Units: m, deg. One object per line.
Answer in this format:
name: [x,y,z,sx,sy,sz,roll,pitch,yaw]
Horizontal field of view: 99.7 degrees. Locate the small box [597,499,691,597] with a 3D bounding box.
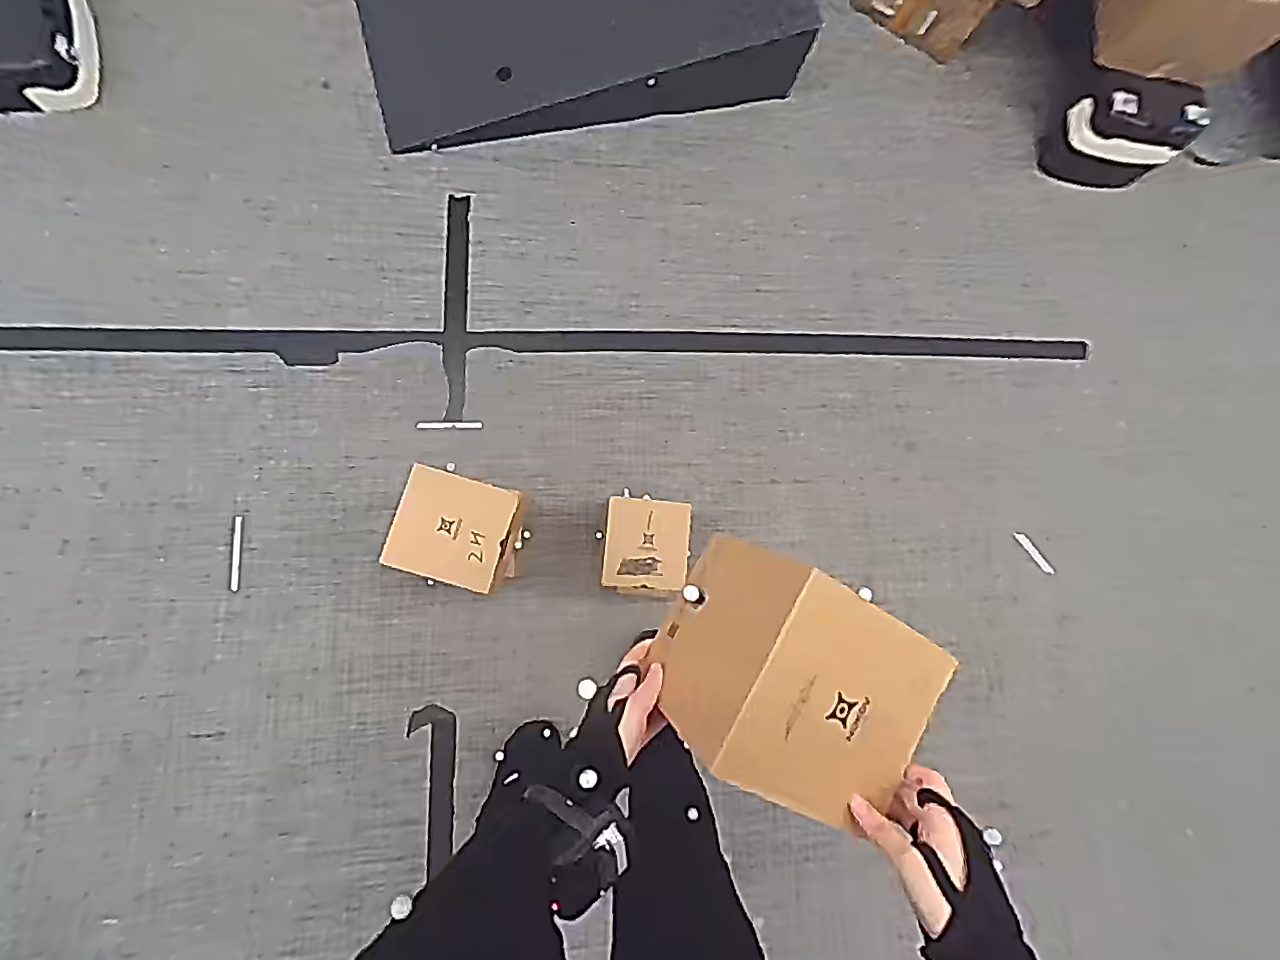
small box: [0.002,0.140,1.120,0.168,0.176,0.179,6,82,-7]

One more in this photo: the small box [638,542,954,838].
small box: [0.128,0.170,0.490,0.179,0.176,0.168,32,82,-19]

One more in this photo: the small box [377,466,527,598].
small box: [-0.304,0.089,0.914,0.179,0.176,0.168,18,83,-5]
